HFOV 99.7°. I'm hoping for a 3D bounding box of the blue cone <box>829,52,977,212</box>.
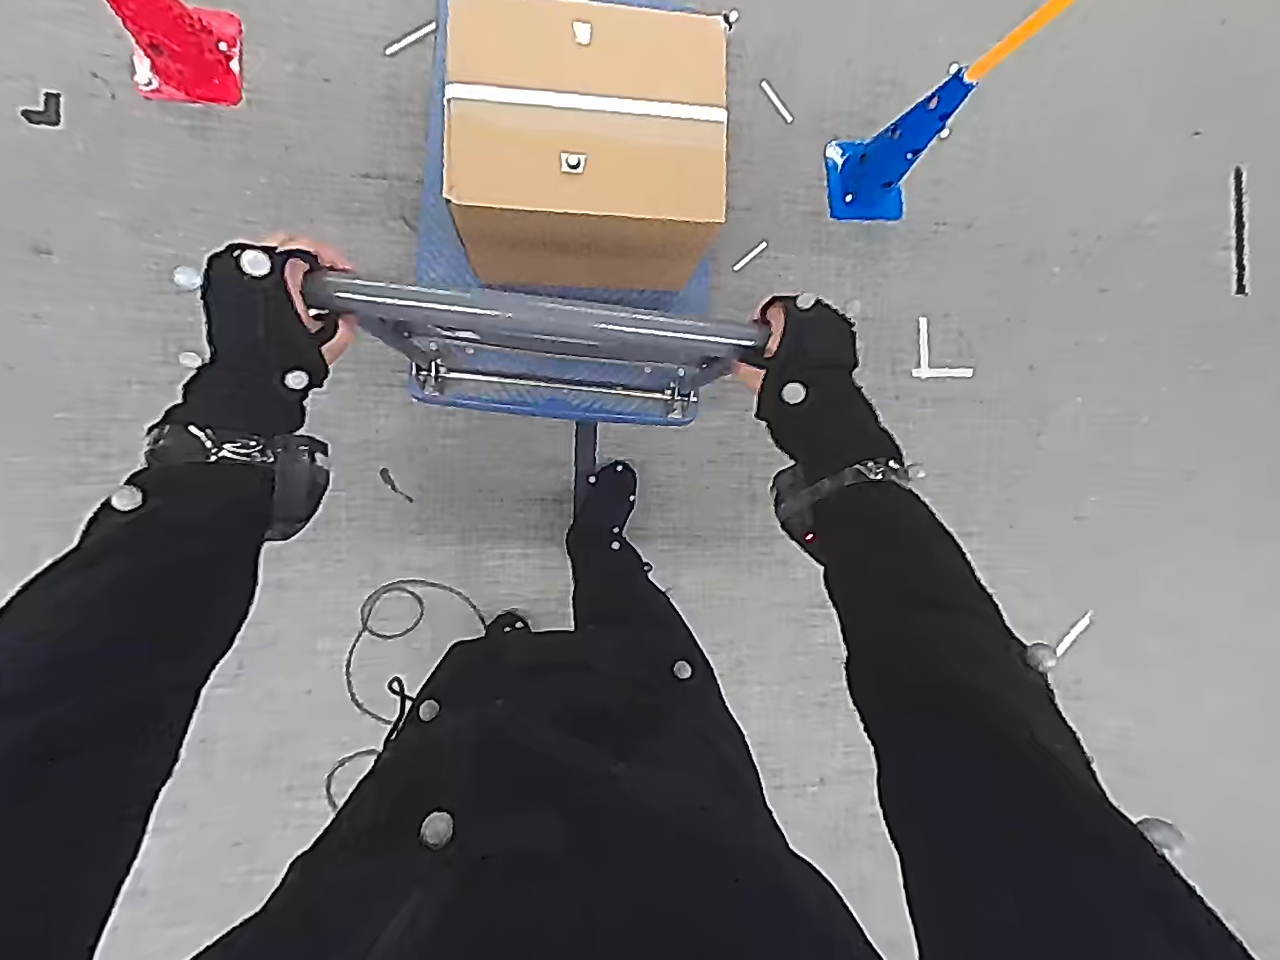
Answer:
[{"bbox_3d":[0.594,-0.773,1.199,0.193,0.380,0.192,-3,89,-9],"label":"blue cone"}]
